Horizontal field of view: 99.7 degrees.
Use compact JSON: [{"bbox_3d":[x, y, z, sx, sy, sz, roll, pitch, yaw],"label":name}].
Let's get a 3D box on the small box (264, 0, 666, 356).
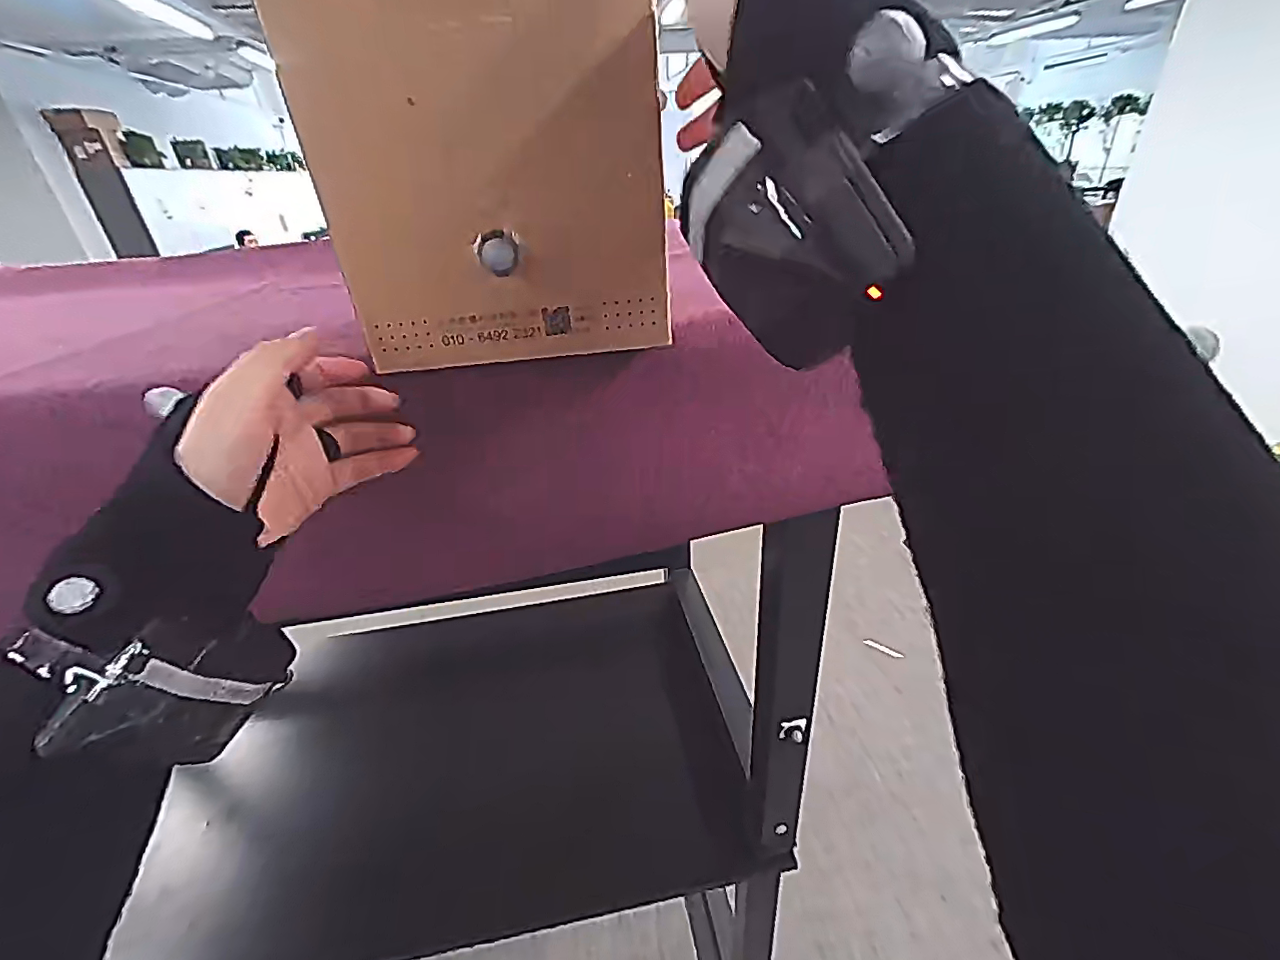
[{"bbox_3d":[-0.076,-0.182,0.327,0.168,0.176,0.179,-6,30,-1],"label":"small box"}]
